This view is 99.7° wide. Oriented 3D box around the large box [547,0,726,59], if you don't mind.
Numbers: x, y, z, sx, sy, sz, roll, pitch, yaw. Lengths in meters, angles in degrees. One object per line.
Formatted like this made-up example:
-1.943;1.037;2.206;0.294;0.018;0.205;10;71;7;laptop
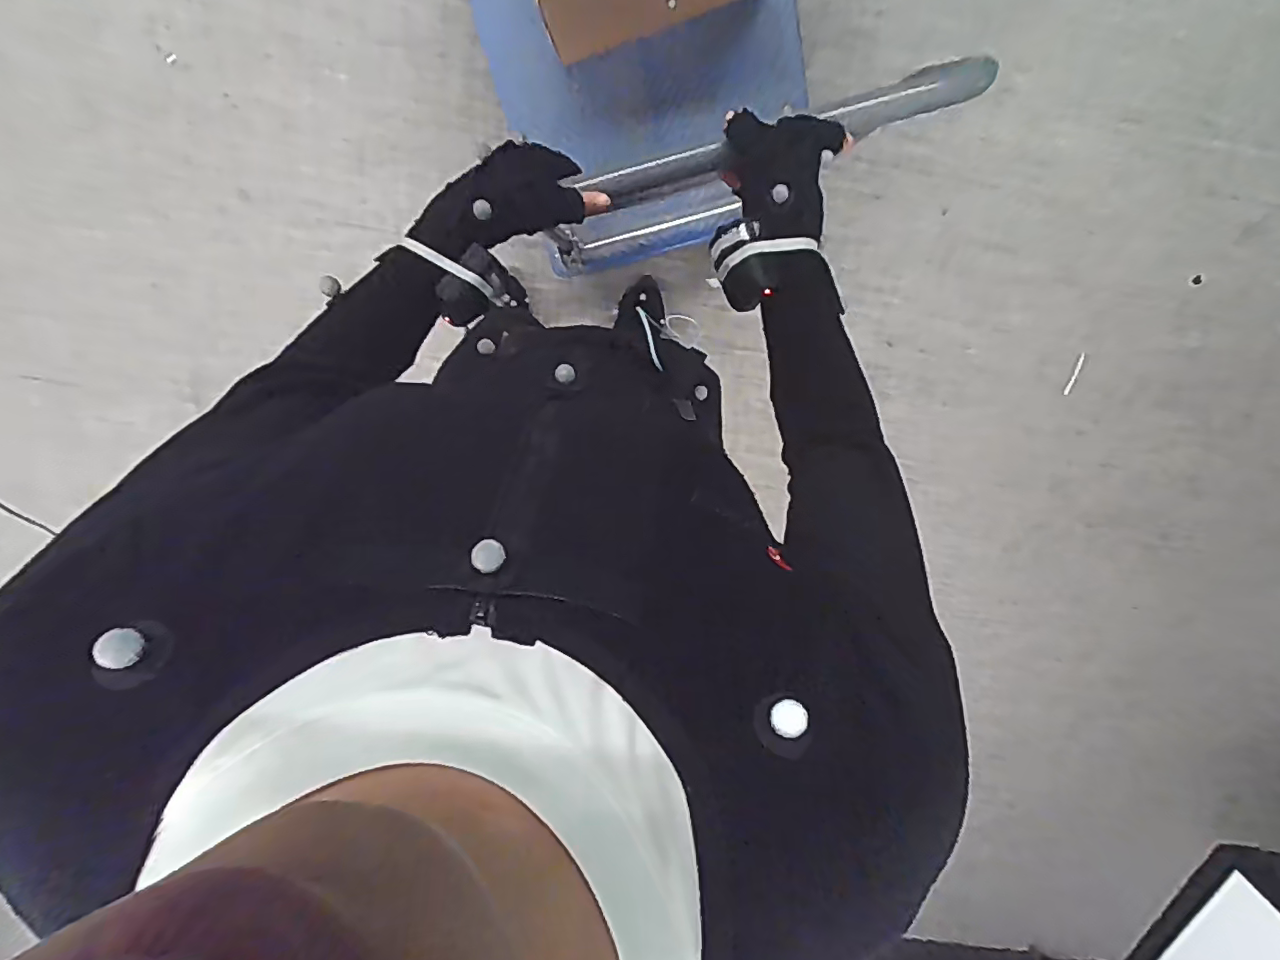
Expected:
0.013;-0.923;0.812;0.408;0.320;0.320;-16;112;6;large box
